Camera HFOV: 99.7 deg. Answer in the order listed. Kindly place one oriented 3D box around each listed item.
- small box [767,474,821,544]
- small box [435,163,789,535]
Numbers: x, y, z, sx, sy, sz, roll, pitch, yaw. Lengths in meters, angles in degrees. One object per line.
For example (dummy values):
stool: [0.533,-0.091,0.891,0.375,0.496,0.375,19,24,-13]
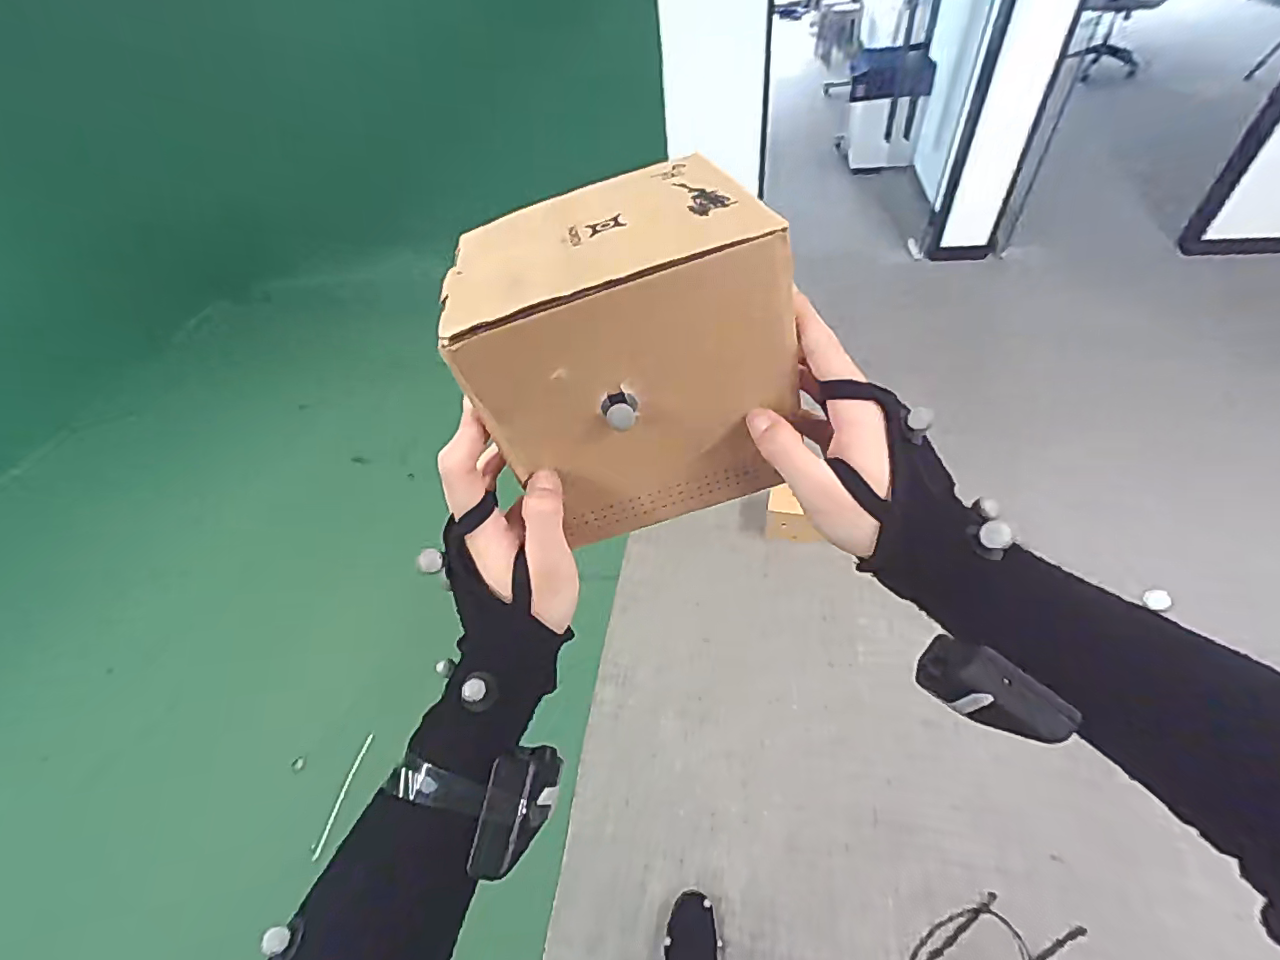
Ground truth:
small box: [0.538,0.105,1.891,0.168,0.176,0.179,6,49,14]
small box: [-0.011,-0.086,0.376,0.179,0.176,0.168,-18,42,3]
